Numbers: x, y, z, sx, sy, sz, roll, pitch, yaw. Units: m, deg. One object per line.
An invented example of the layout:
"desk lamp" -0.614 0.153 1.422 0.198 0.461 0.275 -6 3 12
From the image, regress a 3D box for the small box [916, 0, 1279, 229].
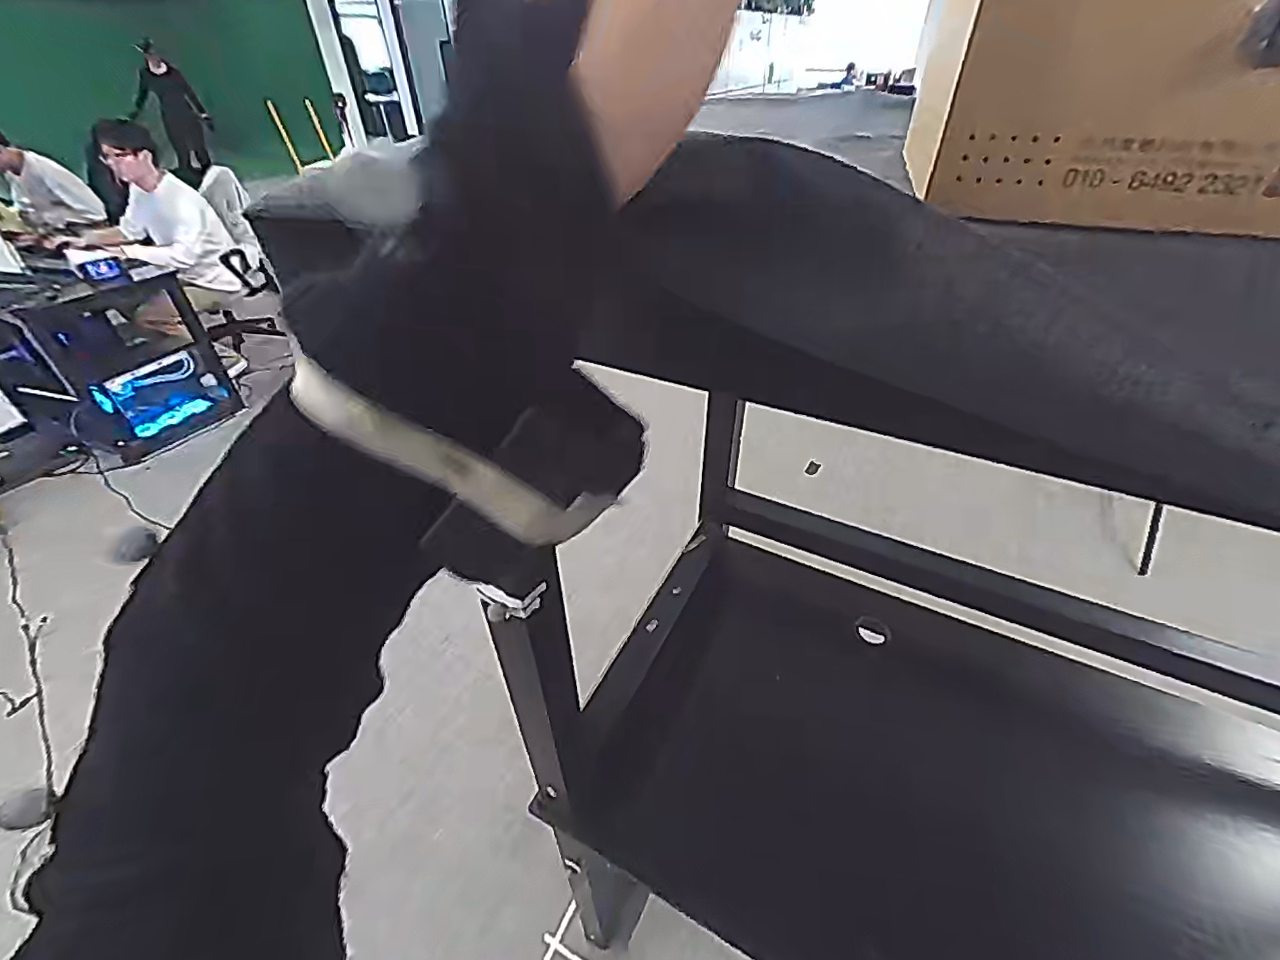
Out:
"small box" 0.212 -0.199 0.194 0.168 0.176 0.179 12 39 15
